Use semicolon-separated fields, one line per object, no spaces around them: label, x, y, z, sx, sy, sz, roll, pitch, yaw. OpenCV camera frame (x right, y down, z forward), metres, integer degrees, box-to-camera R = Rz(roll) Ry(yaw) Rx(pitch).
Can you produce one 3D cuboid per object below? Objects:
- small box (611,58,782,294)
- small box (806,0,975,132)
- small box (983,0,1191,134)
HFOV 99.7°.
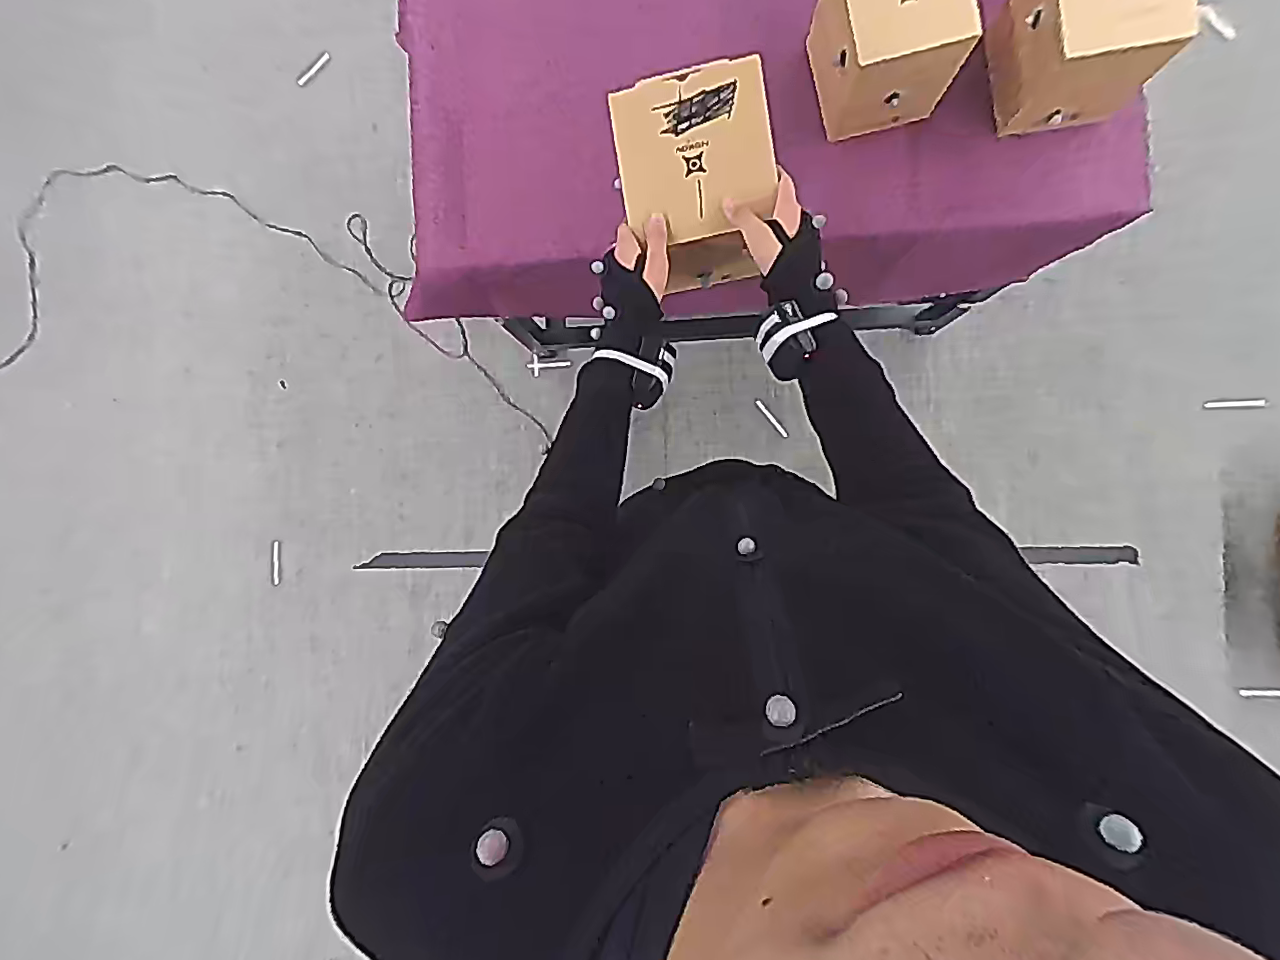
small box;0.071;-0.350;0.658;0.168;0.176;0.179;-9;91;10
small box;0.363;-0.663;0.814;0.168;0.176;0.179;-12;88;4
small box;0.634;-0.653;0.791;0.168;0.176;0.179;-6;88;6
